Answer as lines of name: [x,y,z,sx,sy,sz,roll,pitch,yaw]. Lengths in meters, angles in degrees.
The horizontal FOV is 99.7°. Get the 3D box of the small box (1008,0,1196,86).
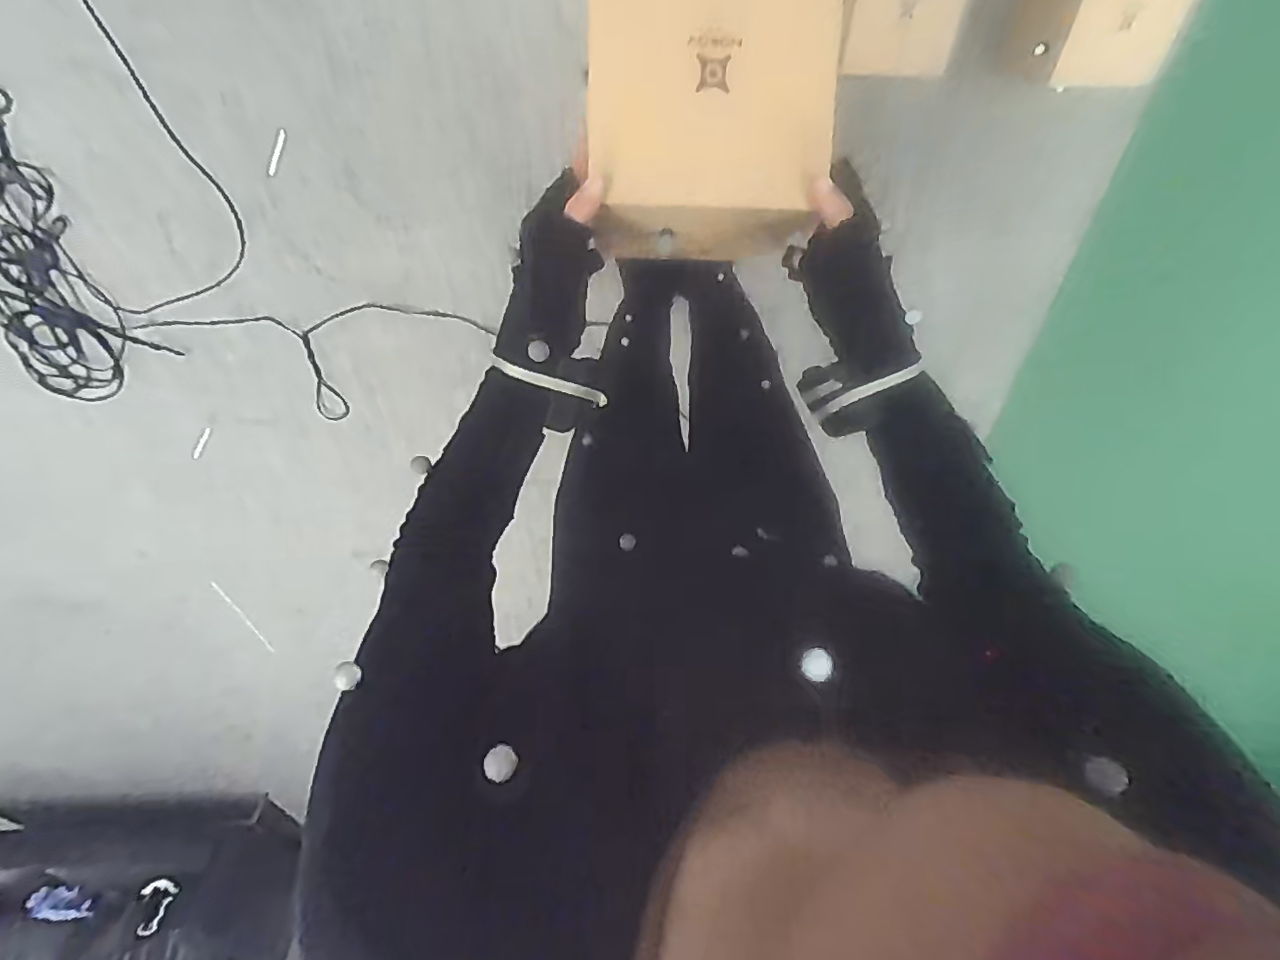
small box: [0.728,-0.743,0.856,0.168,0.176,0.179,-1,131,0]

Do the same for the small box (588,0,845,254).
small box: [0.047,-0.289,0.429,0.168,0.176,0.179,0,99,-2]
